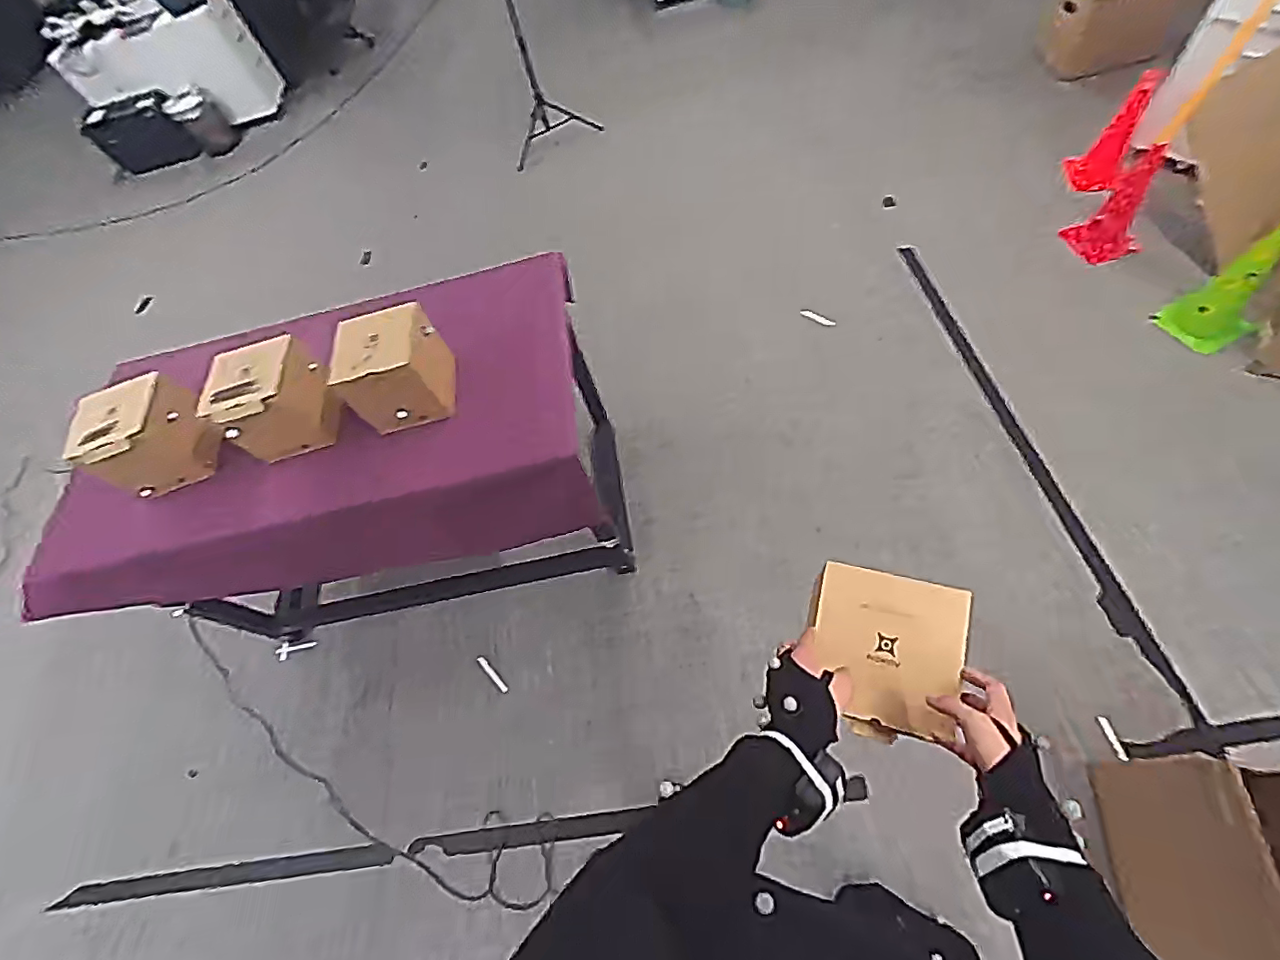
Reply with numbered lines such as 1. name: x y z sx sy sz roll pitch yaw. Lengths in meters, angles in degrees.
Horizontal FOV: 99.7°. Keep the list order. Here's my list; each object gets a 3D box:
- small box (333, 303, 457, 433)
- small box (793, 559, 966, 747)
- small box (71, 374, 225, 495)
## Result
1. small box: -0.492 -0.225 1.112 0.168 0.176 0.179 -14 60 5
2. small box: 0.295 0.216 0.697 0.168 0.176 0.179 11 75 16
3. small box: -1.031 -0.087 1.151 0.168 0.176 0.179 -20 59 0
